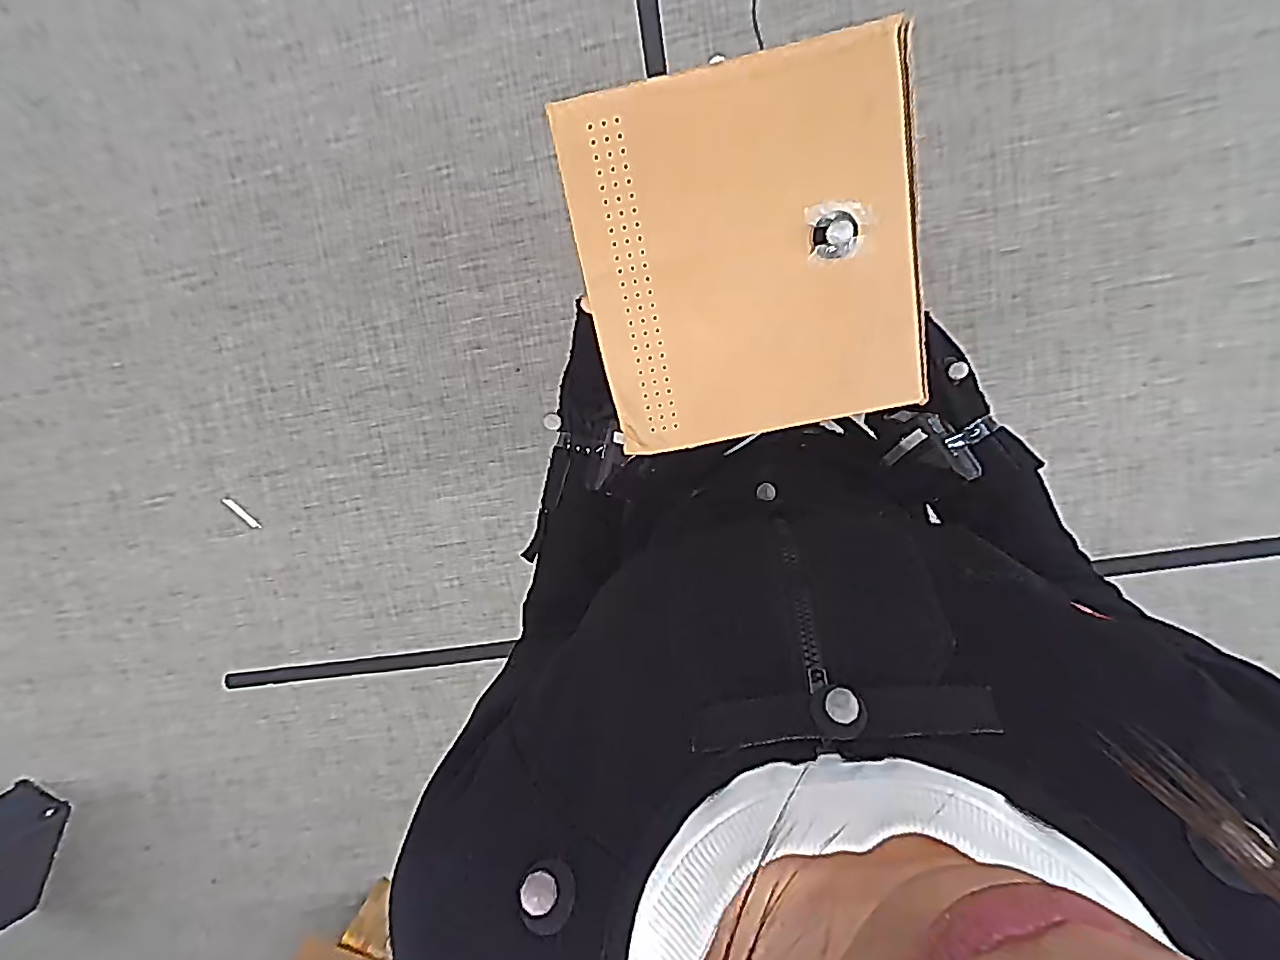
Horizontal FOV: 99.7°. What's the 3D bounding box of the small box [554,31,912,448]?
[{"bbox_3d":[0.052,-0.136,0.356,0.176,0.168,0.179,-11,107,6],"label":"small box"}]
